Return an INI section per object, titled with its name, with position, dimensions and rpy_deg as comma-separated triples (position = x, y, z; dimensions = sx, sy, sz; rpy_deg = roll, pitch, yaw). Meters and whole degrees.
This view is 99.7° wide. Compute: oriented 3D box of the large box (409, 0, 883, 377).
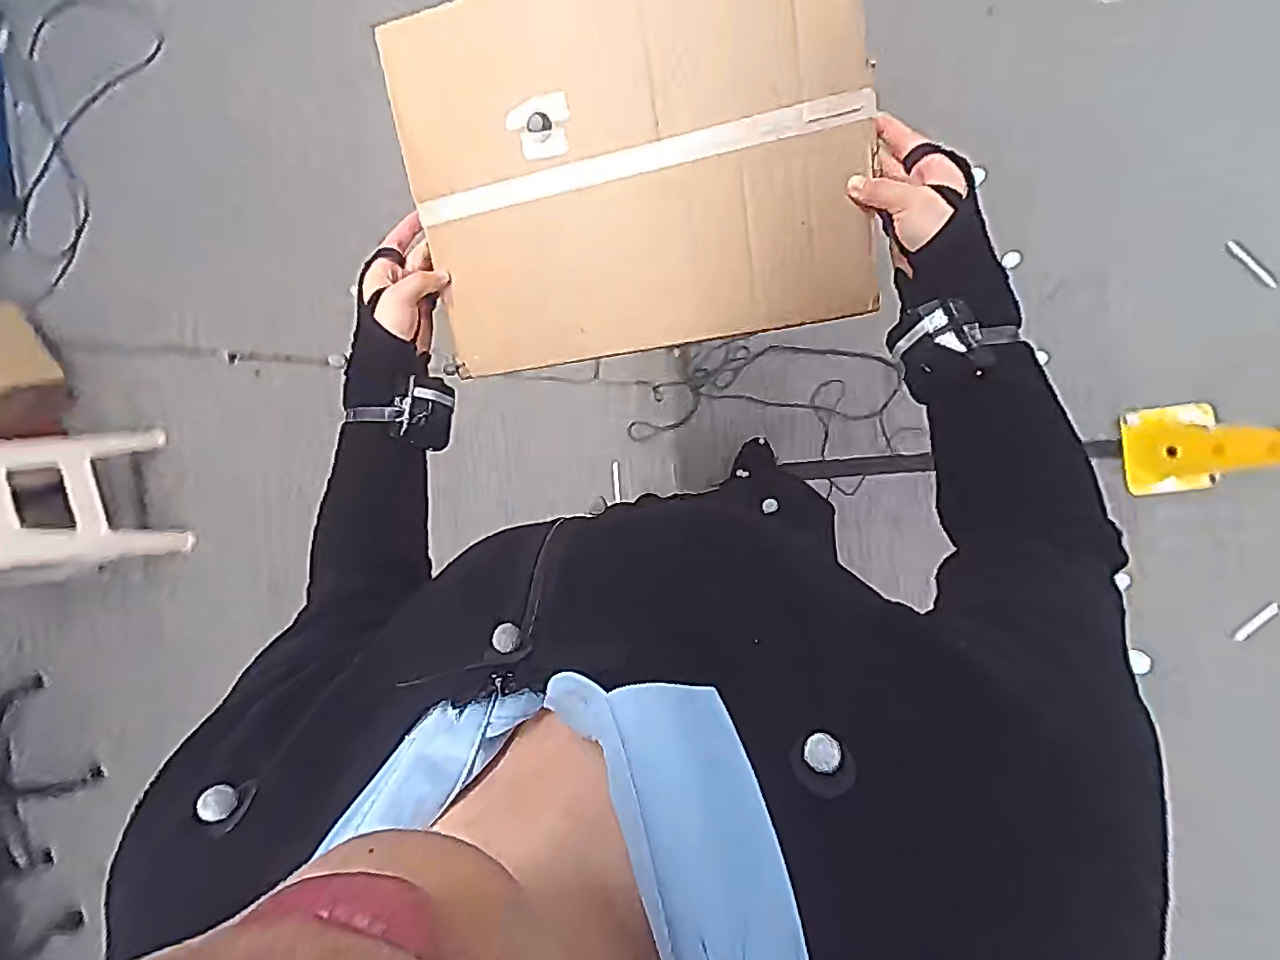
[large box]
position = 0.031, -0.316, 0.628
dimensions = 0.408, 0.320, 0.320
rpy_deg = -6, 103, 13
